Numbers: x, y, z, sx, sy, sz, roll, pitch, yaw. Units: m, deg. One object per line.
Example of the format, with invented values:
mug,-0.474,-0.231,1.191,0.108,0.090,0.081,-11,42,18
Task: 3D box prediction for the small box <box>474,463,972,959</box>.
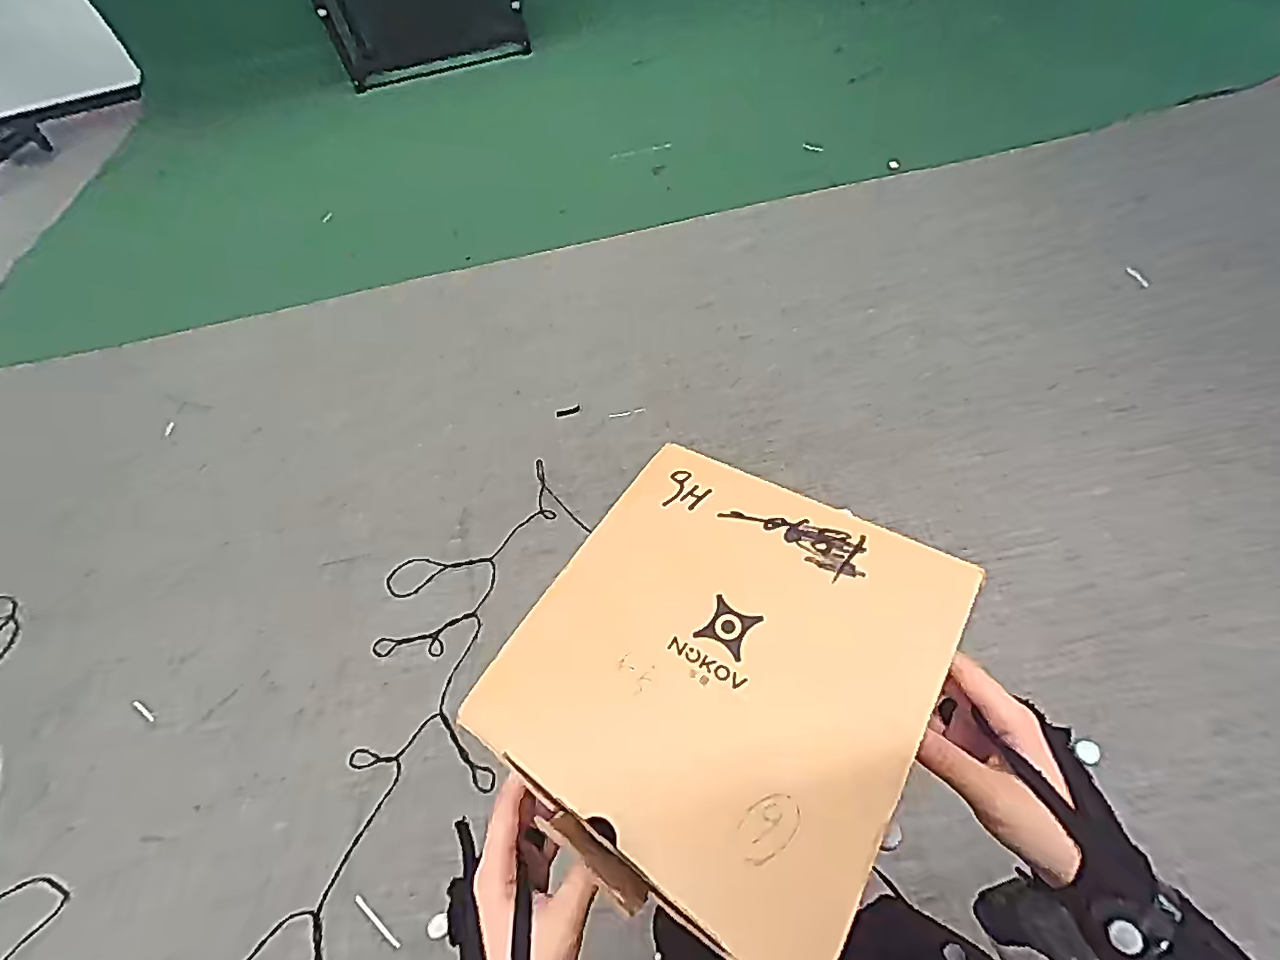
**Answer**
small box,0.051,0.128,0.305,0.168,0.176,0.179,25,63,27
